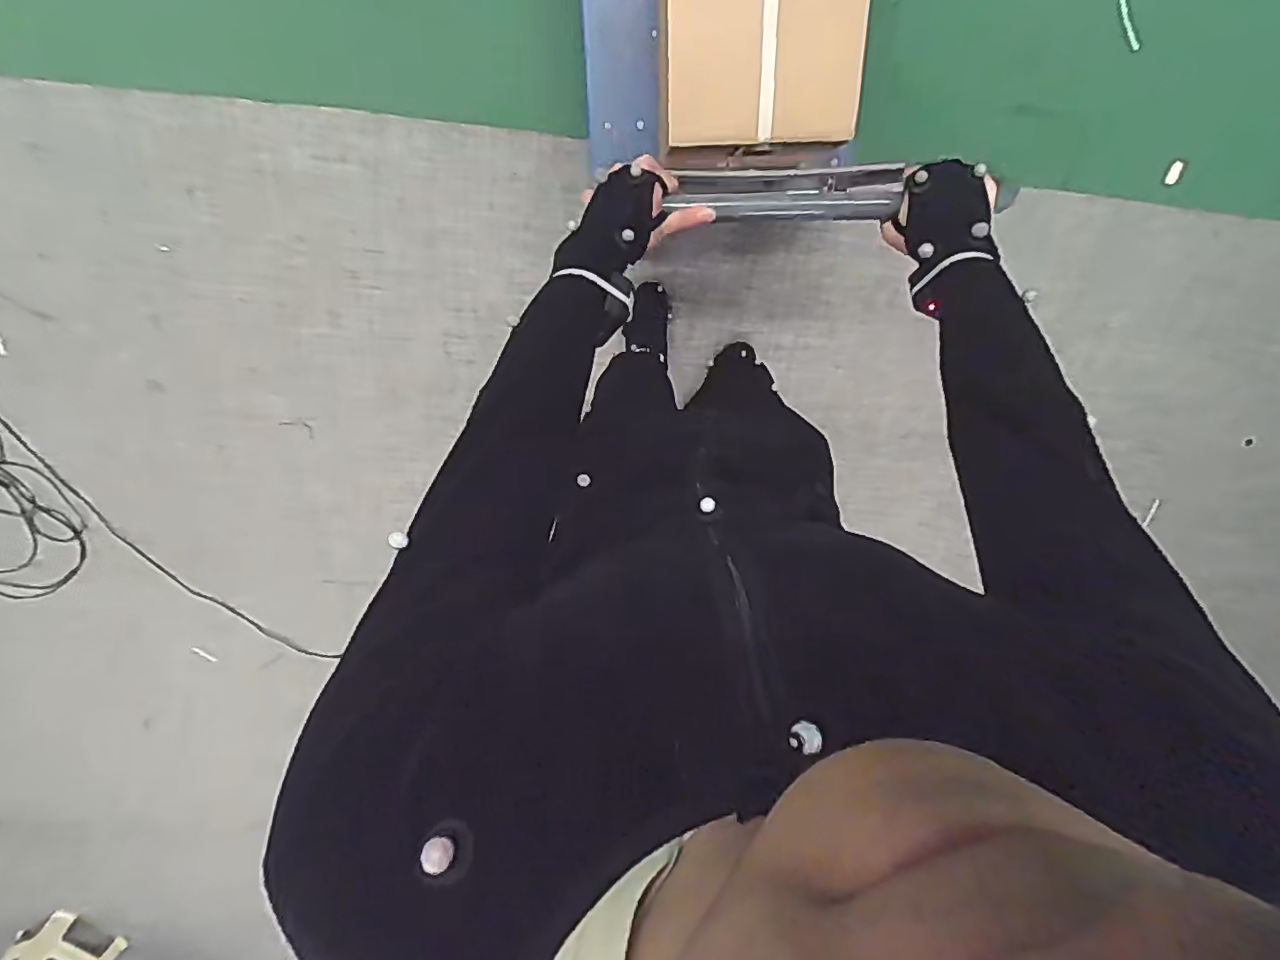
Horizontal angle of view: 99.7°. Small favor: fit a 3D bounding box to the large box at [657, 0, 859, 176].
[{"bbox_3d":[0.189,-0.805,0.979,0.320,0.320,0.408,-2,112,0],"label":"large box"}]
